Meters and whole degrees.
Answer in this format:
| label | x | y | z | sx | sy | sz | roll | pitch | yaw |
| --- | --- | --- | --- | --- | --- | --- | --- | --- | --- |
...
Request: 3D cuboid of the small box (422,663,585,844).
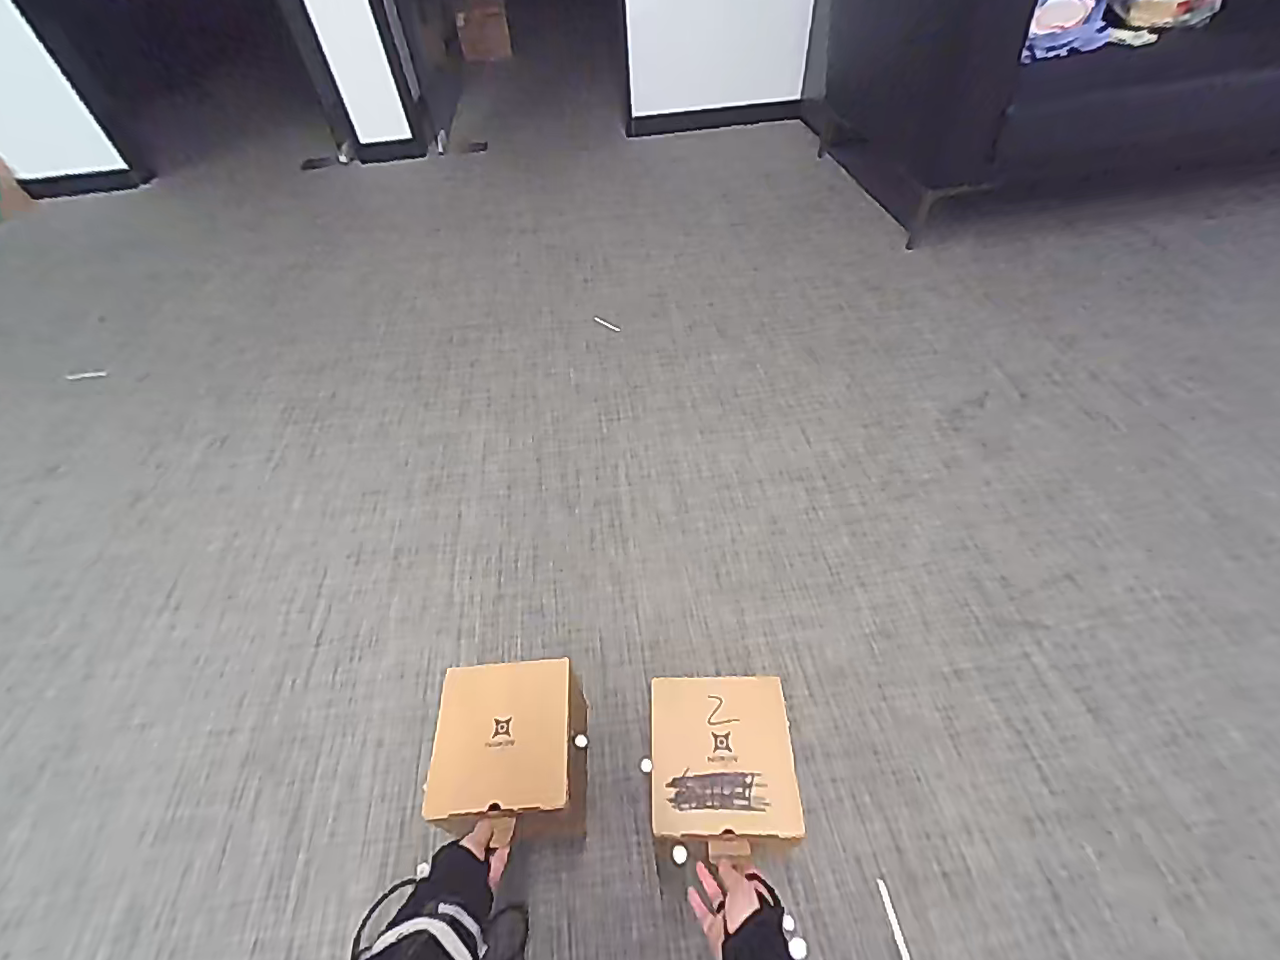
| label | x | y | z | sx | sy | sz | roll | pitch | yaw |
| --- | --- | --- | --- | --- | --- | --- | --- | --- | --- |
| small box | -0.167 | 0.367 | 0.725 | 0.168 | 0.176 | 0.179 | -5 | 49 | 0 |
